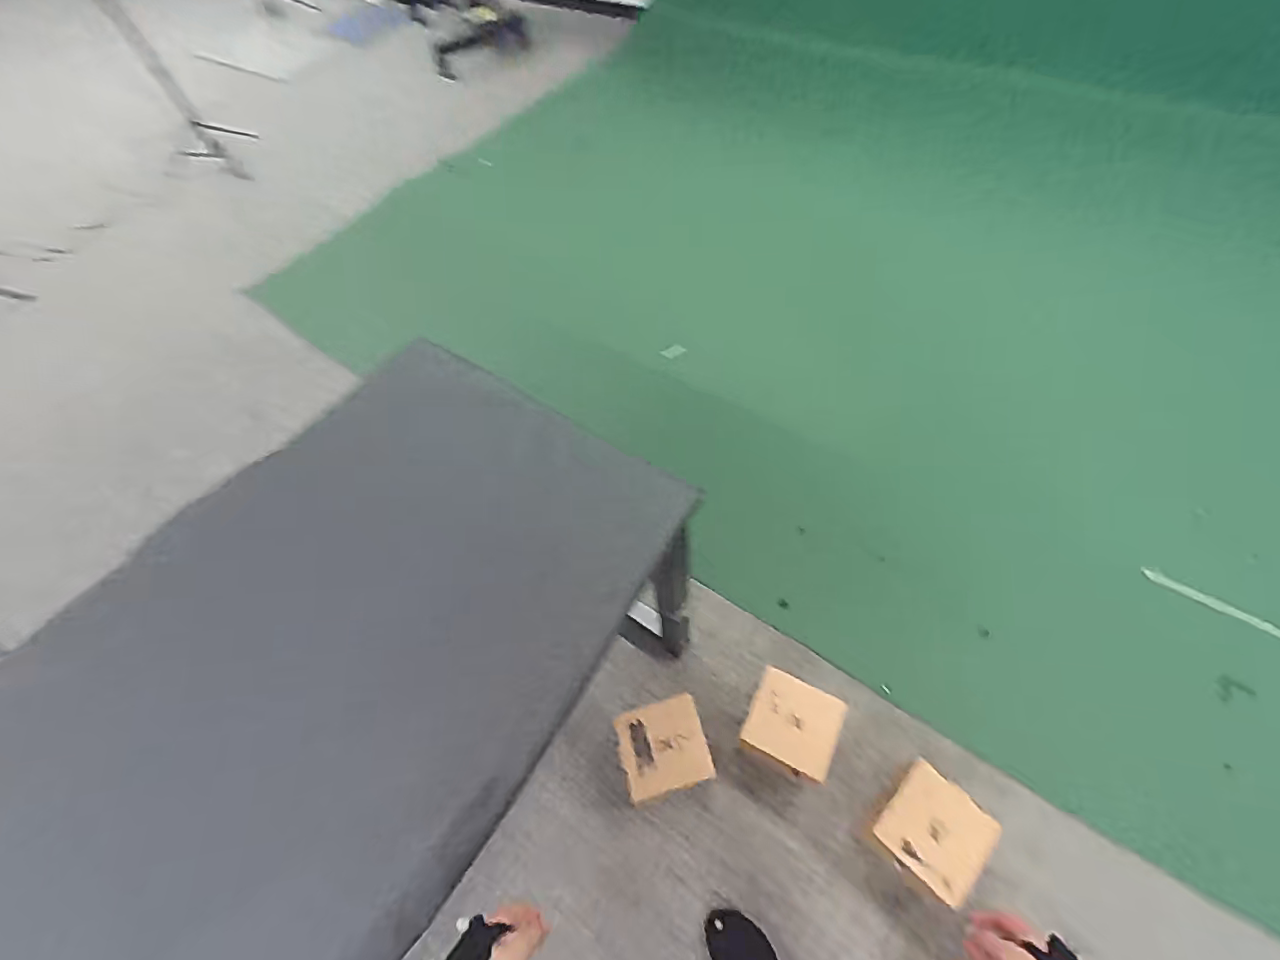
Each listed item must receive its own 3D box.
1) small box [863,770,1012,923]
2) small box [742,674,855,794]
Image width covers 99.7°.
[{"bbox_3d":[0.563,0.699,1.049,0.179,0.176,0.168,-41,63,-19],"label":"small box"},{"bbox_3d":[0.335,0.551,1.168,0.179,0.176,0.168,23,62,19],"label":"small box"}]
